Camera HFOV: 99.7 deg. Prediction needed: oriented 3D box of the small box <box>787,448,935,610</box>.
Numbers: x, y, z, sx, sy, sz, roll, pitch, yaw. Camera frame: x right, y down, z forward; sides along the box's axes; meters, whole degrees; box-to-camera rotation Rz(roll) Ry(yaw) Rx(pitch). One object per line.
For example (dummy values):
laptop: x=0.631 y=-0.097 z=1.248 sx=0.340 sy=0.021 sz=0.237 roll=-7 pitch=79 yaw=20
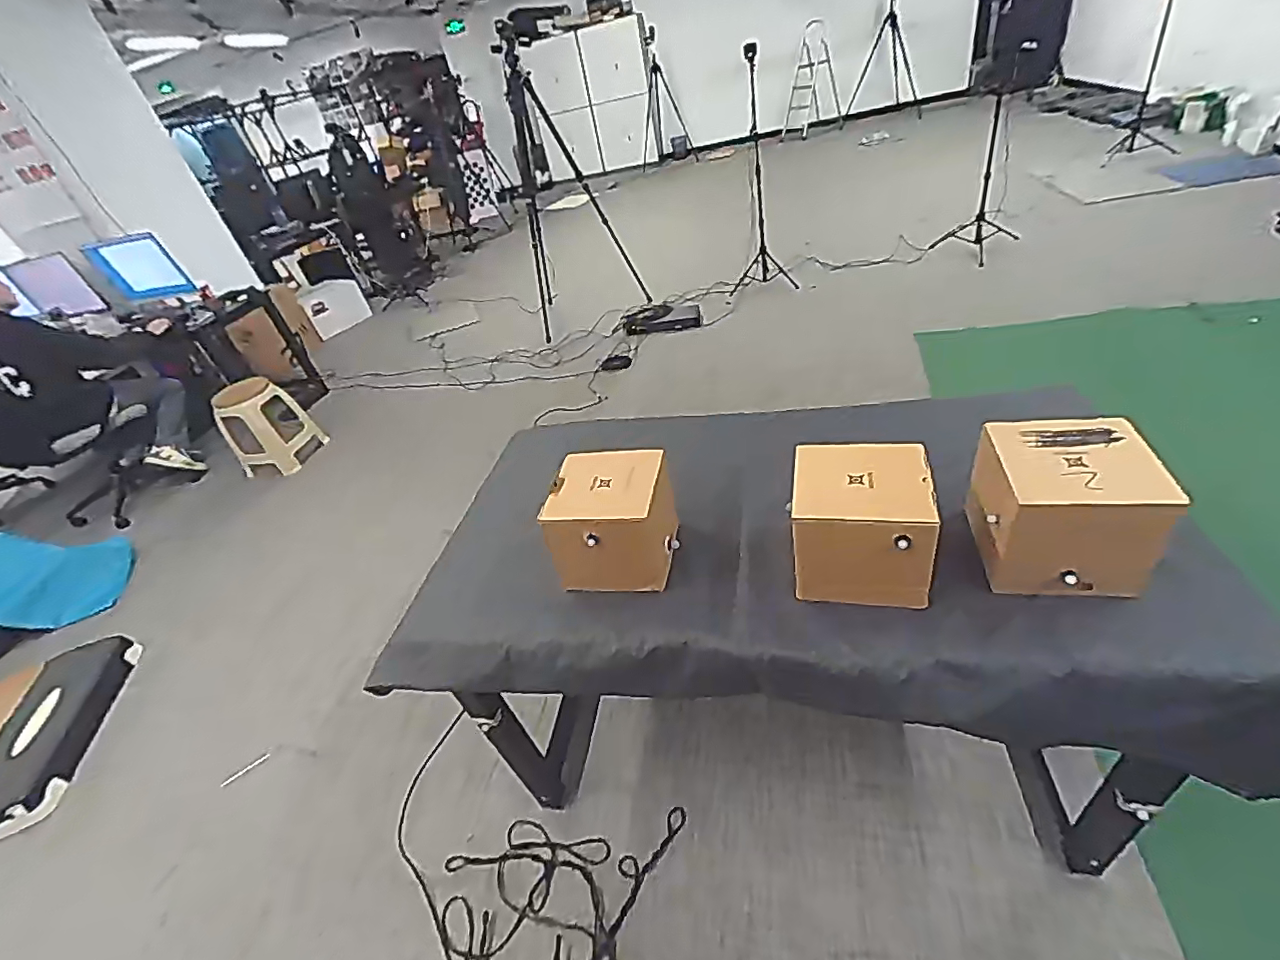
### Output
small box: x=0.309 y=0.069 z=0.779 sx=0.179 sy=0.176 sz=0.168 roll=1 pitch=39 yaw=18

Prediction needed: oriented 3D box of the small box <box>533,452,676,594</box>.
small box: x=-0.047 y=0.071 z=0.891 sx=0.179 sy=0.176 sz=0.168 roll=-1 pitch=39 yaw=15
